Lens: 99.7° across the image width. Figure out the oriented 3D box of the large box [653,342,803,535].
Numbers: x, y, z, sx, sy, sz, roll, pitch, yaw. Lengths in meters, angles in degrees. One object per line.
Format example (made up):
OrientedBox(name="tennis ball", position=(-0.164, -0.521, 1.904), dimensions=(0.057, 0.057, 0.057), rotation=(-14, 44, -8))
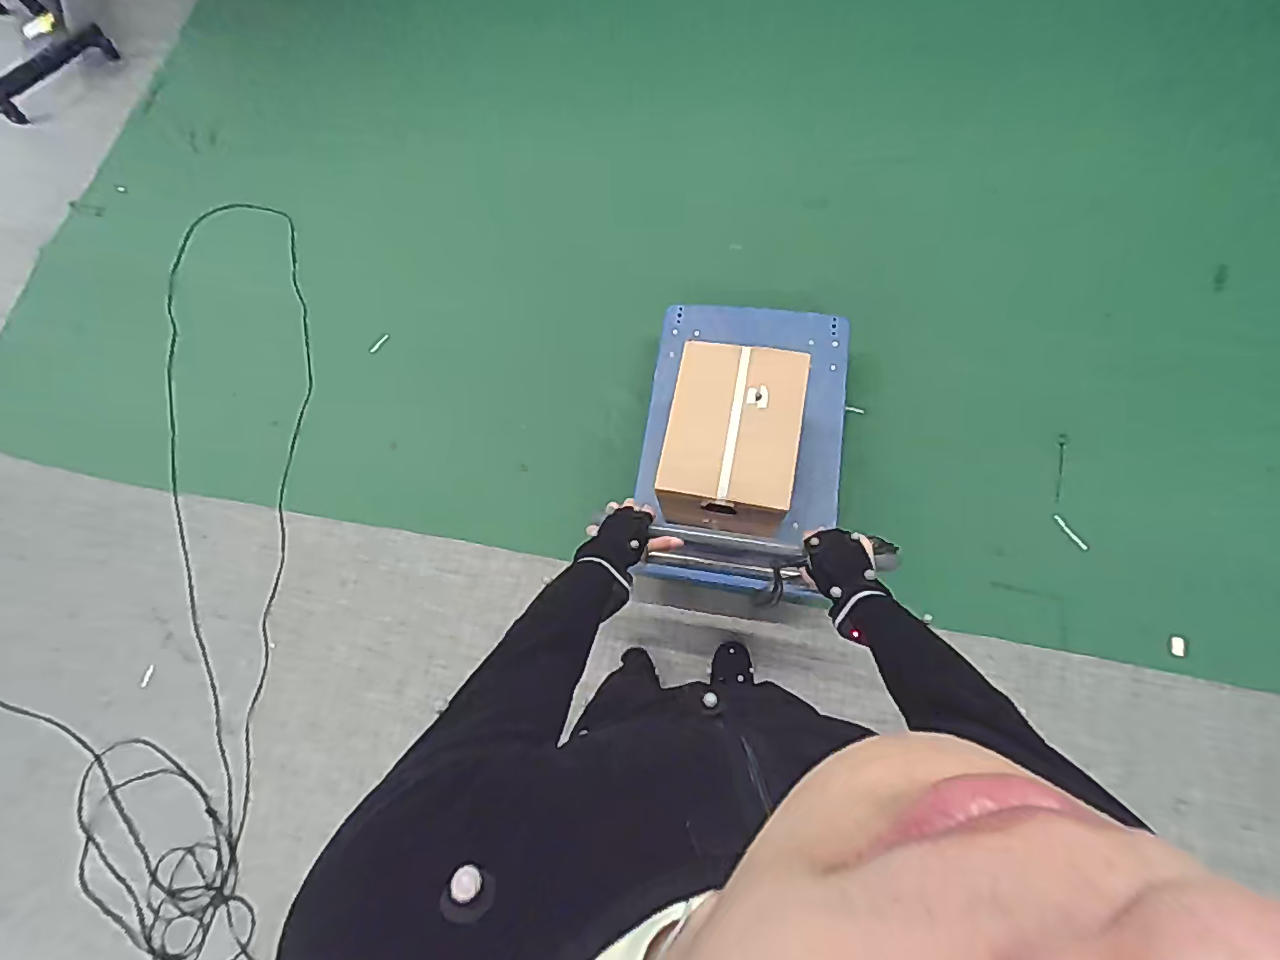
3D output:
OrientedBox(name="large box", position=(0.233, -0.098, 1.430), dimensions=(0.320, 0.320, 0.408), rotation=(10, 73, 10))
